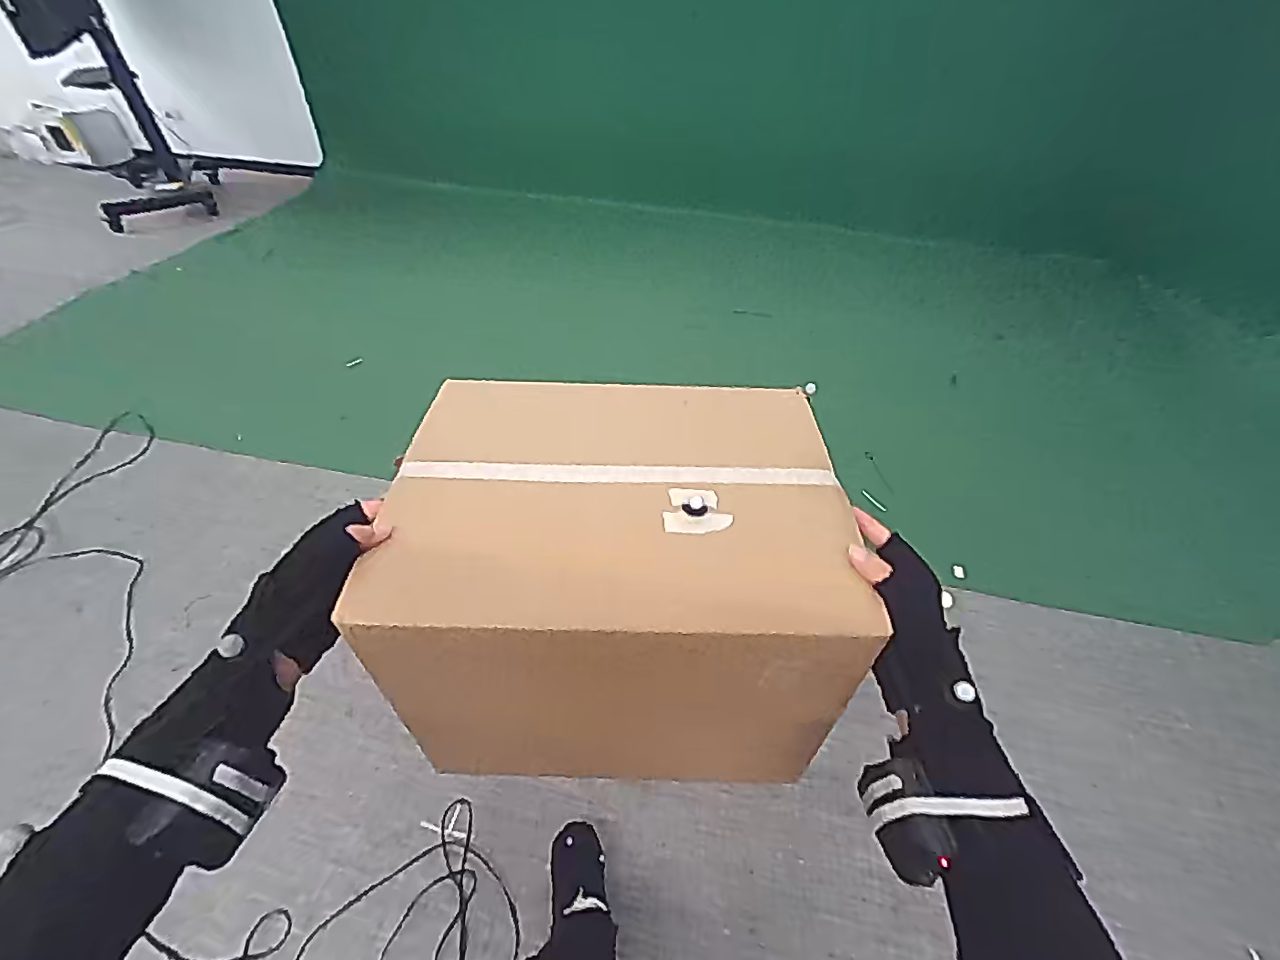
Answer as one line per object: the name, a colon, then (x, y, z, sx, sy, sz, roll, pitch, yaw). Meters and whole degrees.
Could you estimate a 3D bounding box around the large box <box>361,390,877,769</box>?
large box: (-0.021, 0.112, 0.618, 0.408, 0.320, 0.320, 2, 43, -1)
